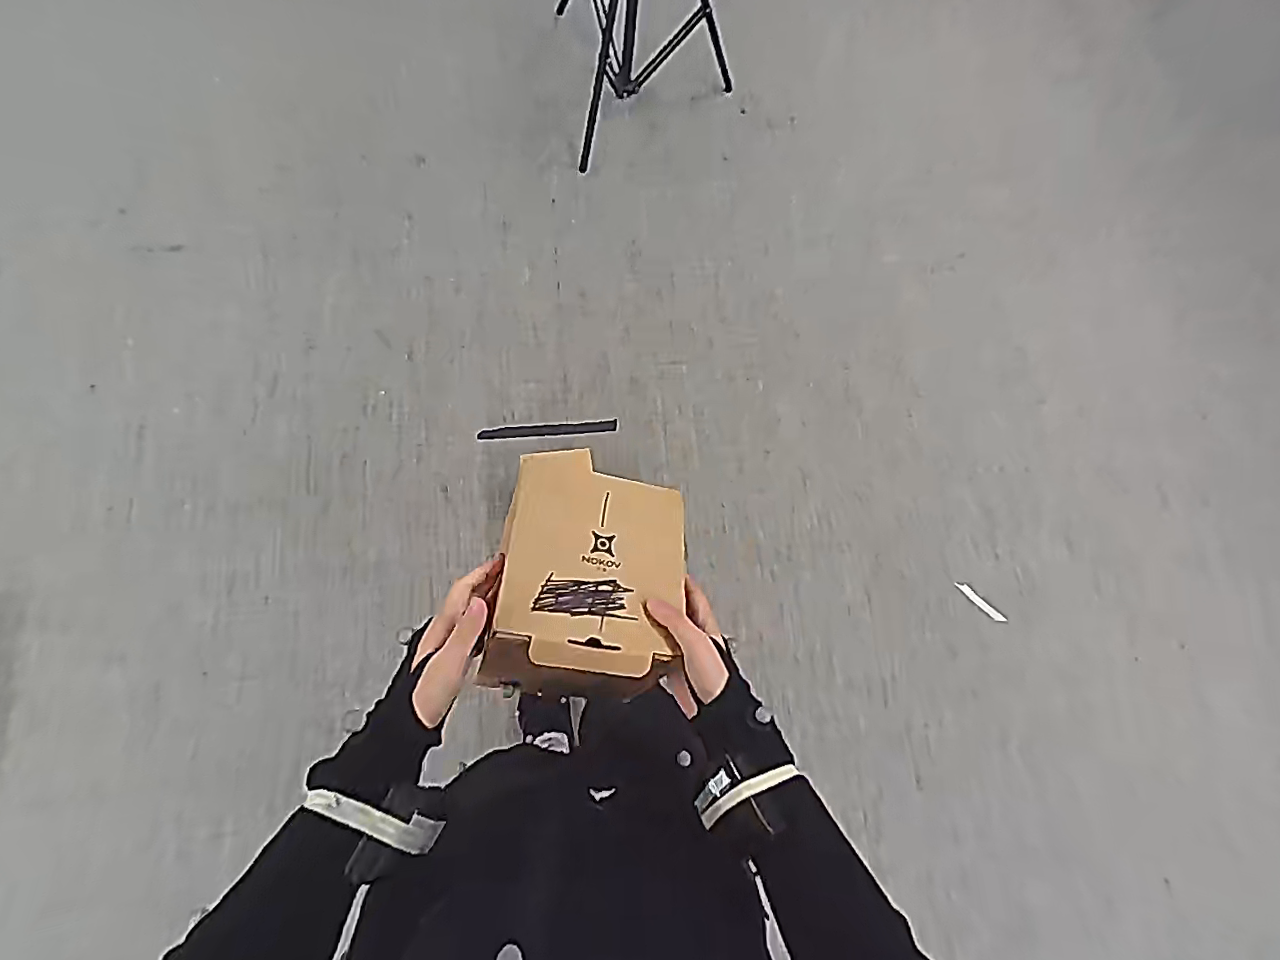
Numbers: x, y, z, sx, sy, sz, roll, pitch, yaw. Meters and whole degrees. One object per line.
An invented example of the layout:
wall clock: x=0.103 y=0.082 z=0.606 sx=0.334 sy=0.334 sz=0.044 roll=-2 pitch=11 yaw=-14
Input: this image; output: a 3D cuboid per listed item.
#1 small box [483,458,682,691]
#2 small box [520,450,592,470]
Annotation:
small box: x=-0.063 y=0.107 z=0.556 sx=0.168 sy=0.176 sz=0.179 roll=11 pitch=54 yaw=-14
small box: x=-0.198 y=0.037 z=1.324 sx=0.168 sy=0.176 sz=0.179 roll=-6 pitch=77 yaw=-9
